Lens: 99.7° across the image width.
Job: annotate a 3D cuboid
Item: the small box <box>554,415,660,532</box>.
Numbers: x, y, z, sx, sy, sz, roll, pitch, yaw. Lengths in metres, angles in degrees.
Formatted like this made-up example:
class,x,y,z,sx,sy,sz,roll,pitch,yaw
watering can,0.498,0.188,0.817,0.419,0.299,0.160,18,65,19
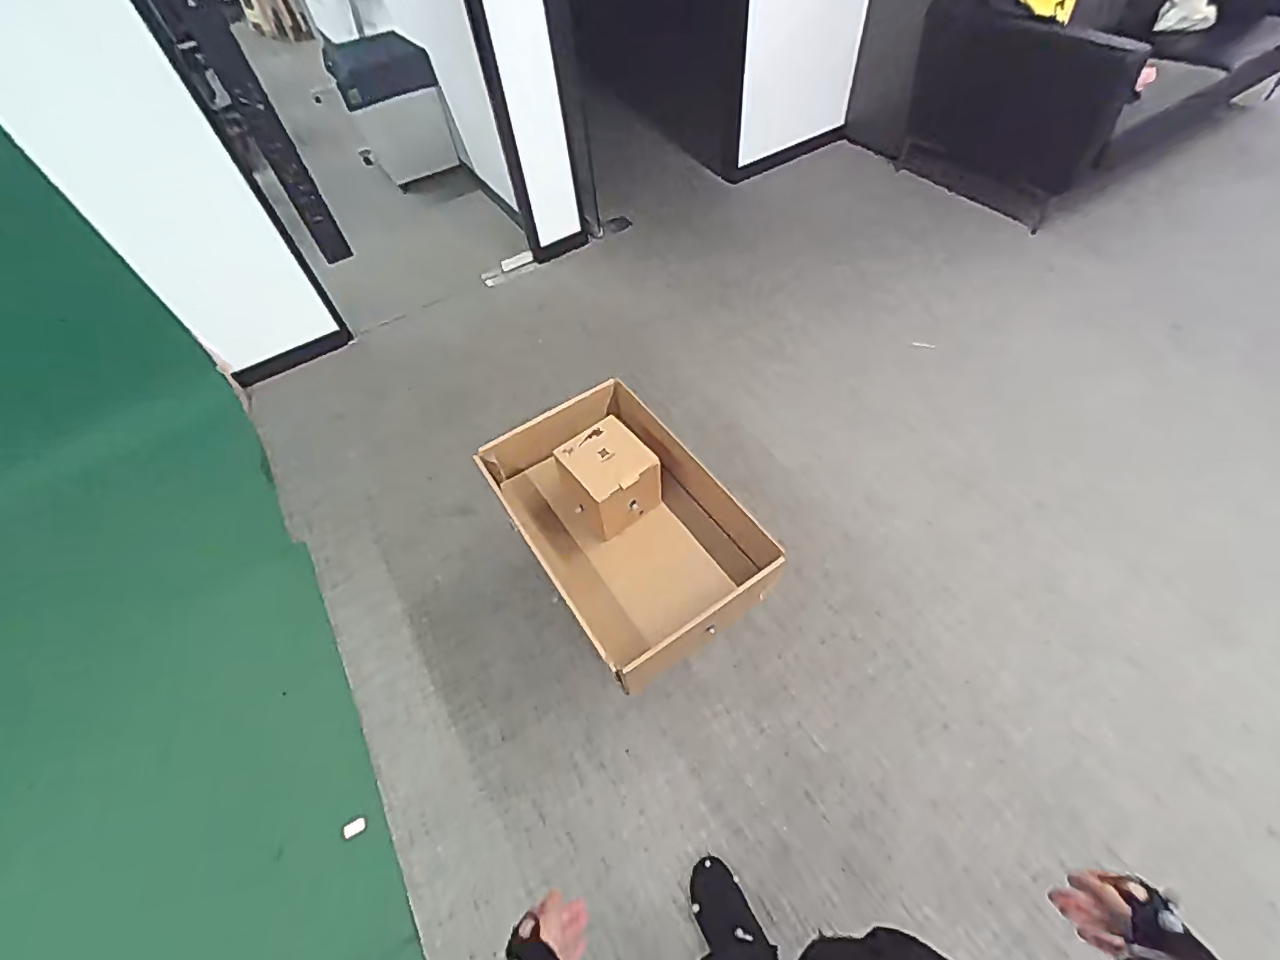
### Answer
class,x,y,z,sx,sy,sz,roll,pitch,yaw
small box,-0.068,-0.006,1.223,0.168,0.176,0.179,-33,61,-19
